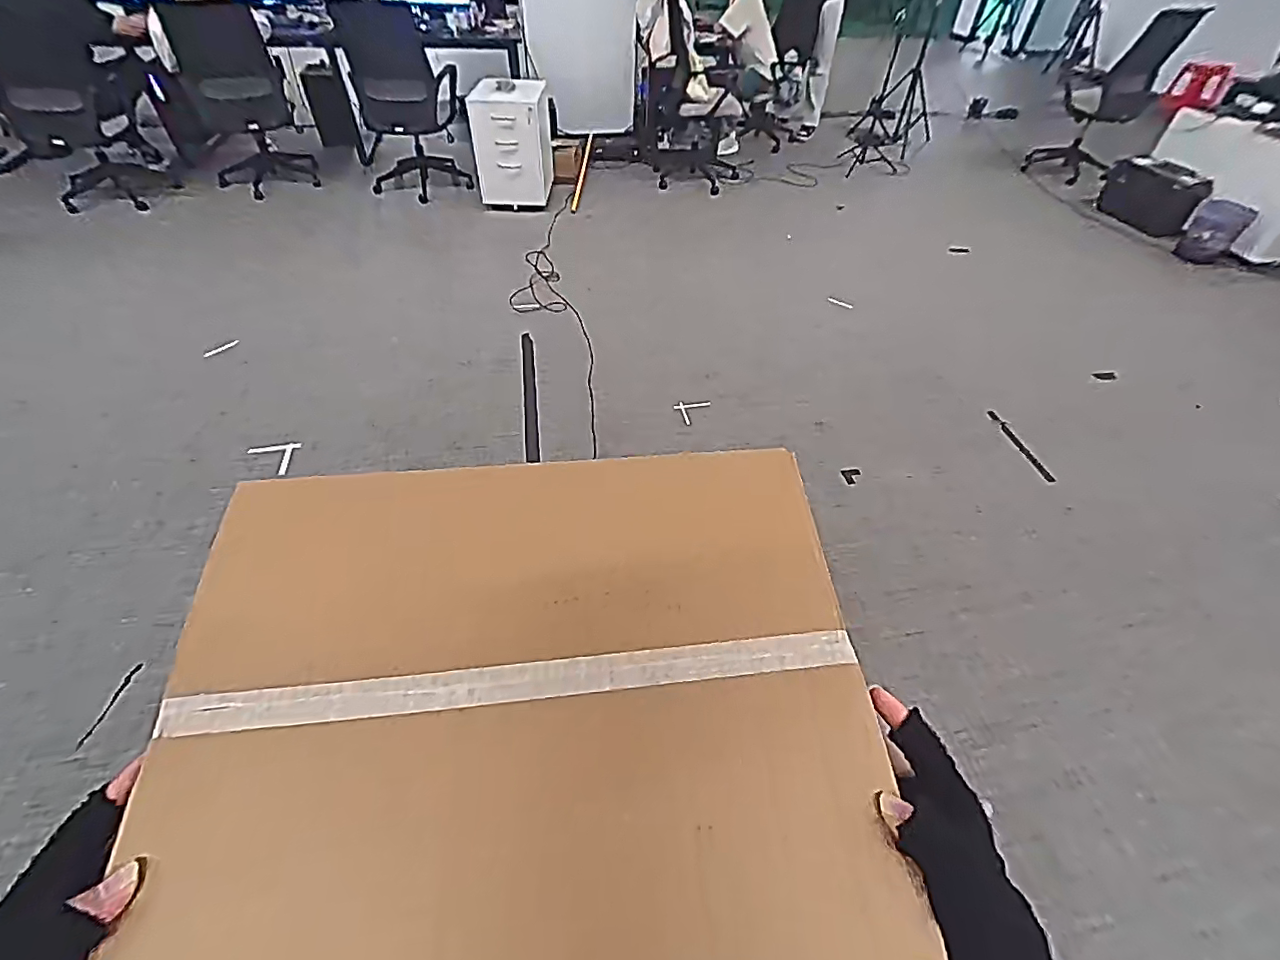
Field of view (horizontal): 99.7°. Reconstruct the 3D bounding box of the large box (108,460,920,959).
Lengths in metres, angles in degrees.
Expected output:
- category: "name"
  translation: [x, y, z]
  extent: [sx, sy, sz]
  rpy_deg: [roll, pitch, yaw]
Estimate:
- category: "large box"
  translation: [-0.074, 0.207, 0.456]
  extent: [0.408, 0.320, 0.320]
  rpy_deg: [-4, 58, -5]
